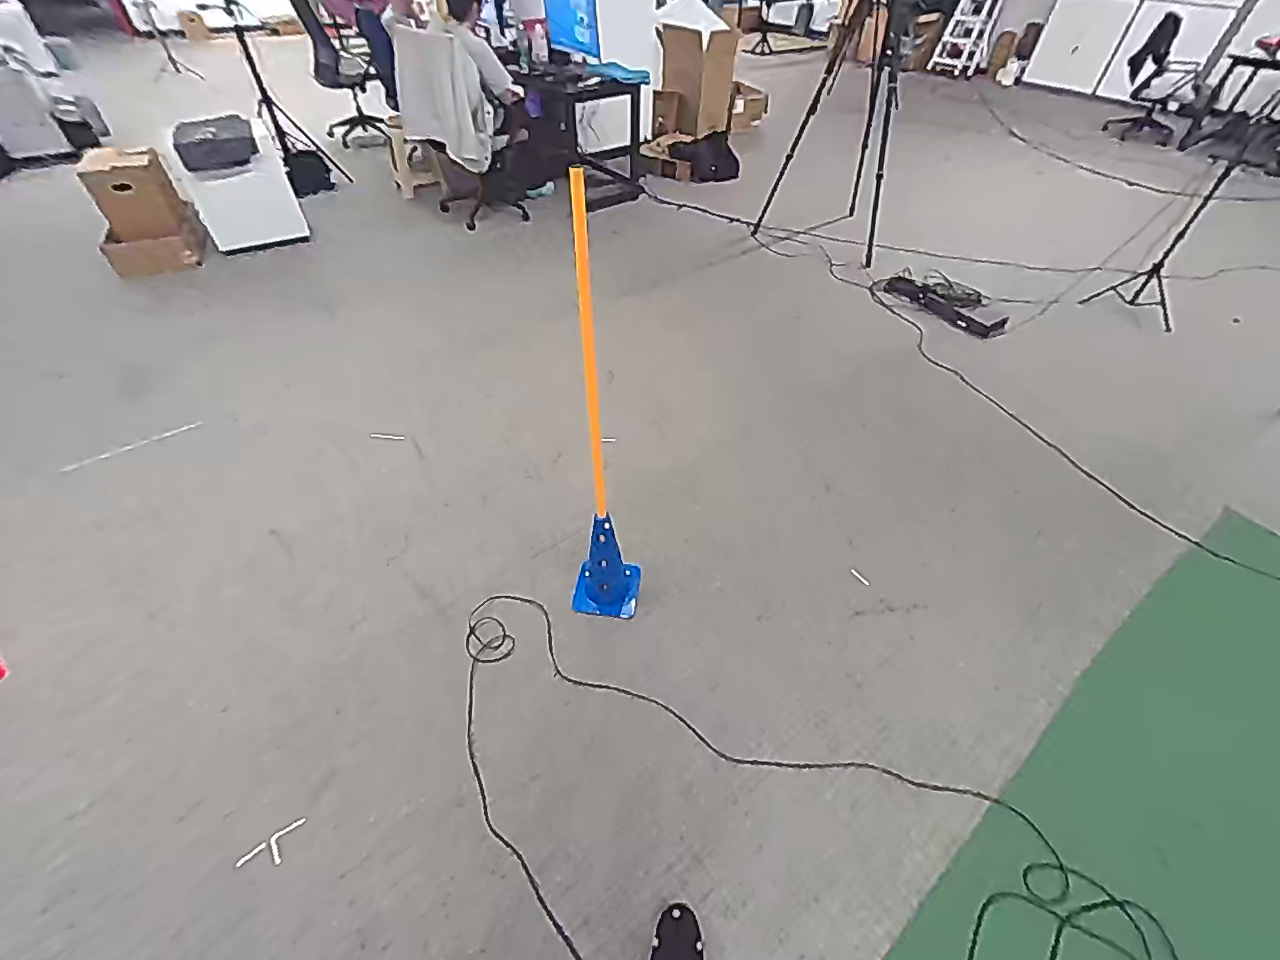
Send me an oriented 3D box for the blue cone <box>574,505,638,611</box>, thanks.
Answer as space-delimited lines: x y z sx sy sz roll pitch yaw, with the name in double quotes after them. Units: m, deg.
-0.105 0.214 1.608 0.192 0.380 0.193 5 44 4 "blue cone"
